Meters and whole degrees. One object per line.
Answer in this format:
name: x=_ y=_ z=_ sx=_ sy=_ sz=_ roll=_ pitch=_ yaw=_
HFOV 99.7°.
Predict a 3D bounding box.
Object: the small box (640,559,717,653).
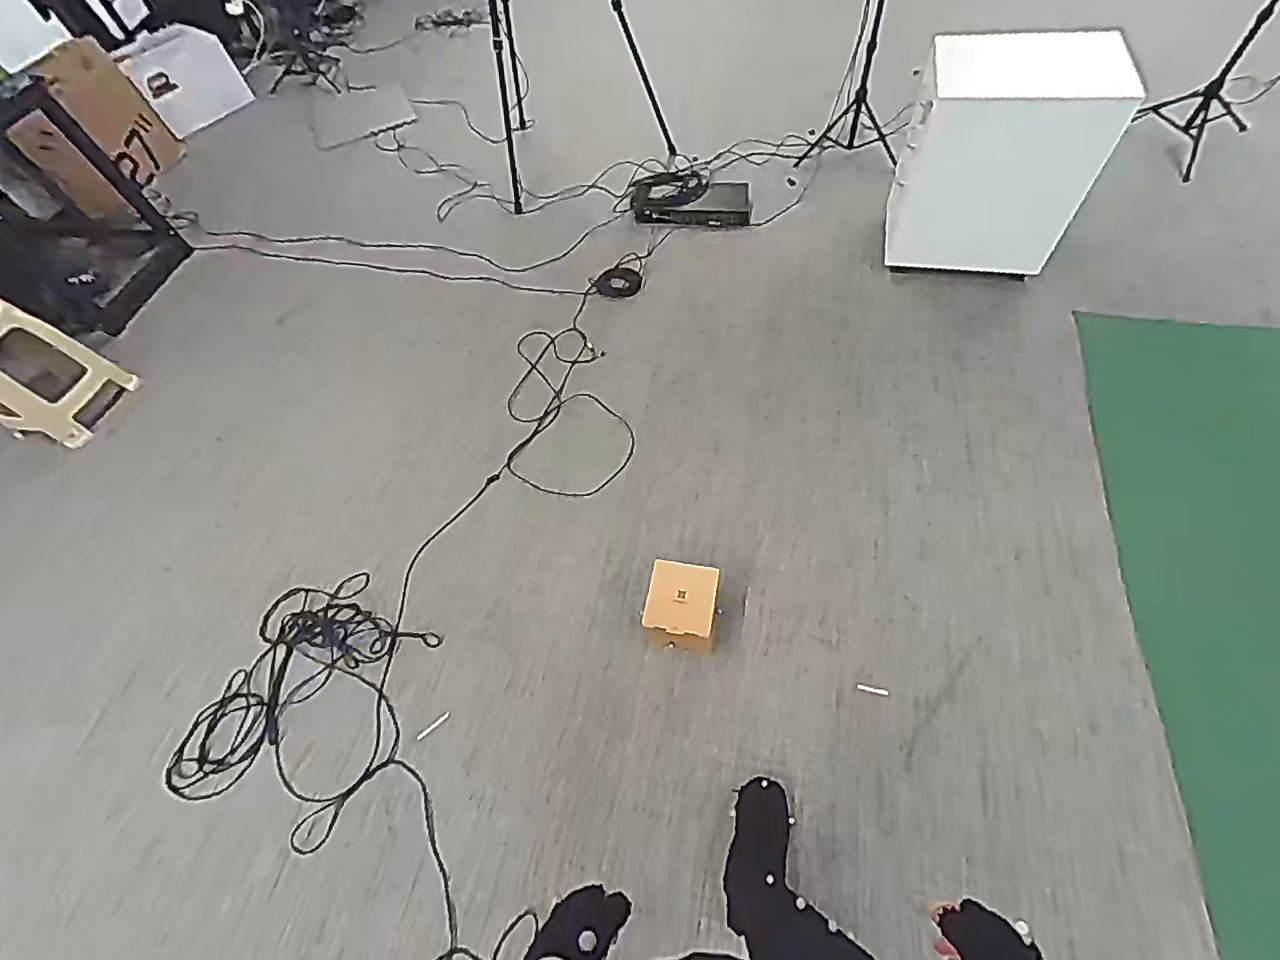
small box: x=0.103 y=0.324 z=1.383 sx=0.168 sy=0.176 sz=0.179 roll=7 pitch=60 yaw=12
